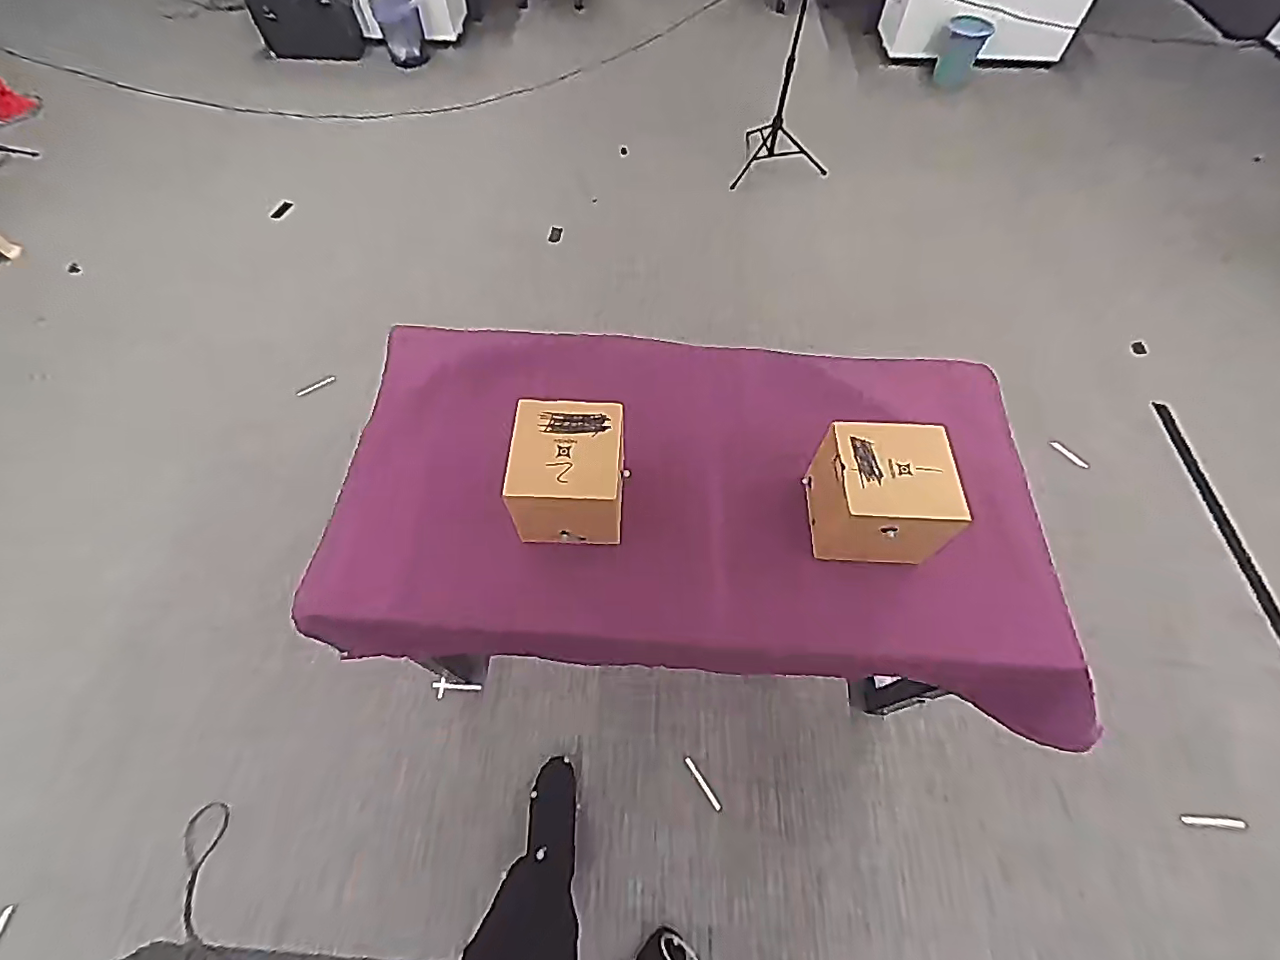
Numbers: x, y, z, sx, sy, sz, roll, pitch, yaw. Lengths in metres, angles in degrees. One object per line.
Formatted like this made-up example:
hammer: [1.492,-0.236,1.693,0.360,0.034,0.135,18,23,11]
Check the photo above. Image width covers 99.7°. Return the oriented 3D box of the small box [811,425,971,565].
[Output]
small box: [0.383,0.029,0.866,0.179,0.176,0.168,3,60,1]
